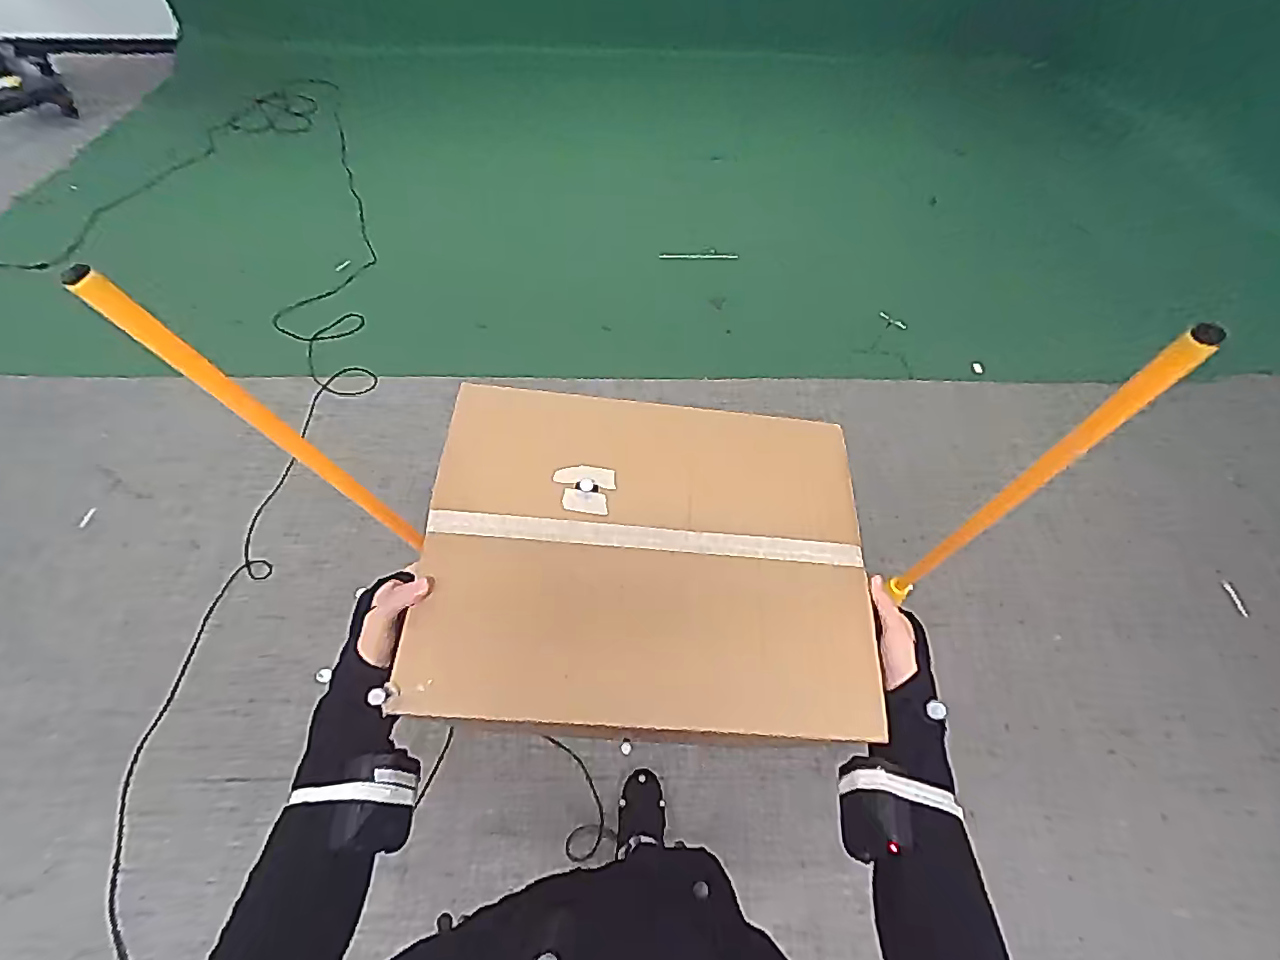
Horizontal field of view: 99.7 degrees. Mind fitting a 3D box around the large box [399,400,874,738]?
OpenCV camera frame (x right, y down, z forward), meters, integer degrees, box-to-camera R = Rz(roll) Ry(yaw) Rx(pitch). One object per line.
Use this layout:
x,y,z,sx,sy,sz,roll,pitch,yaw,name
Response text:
-0.004,0.132,0.644,0.408,0.320,0.320,5,62,-4,large box
